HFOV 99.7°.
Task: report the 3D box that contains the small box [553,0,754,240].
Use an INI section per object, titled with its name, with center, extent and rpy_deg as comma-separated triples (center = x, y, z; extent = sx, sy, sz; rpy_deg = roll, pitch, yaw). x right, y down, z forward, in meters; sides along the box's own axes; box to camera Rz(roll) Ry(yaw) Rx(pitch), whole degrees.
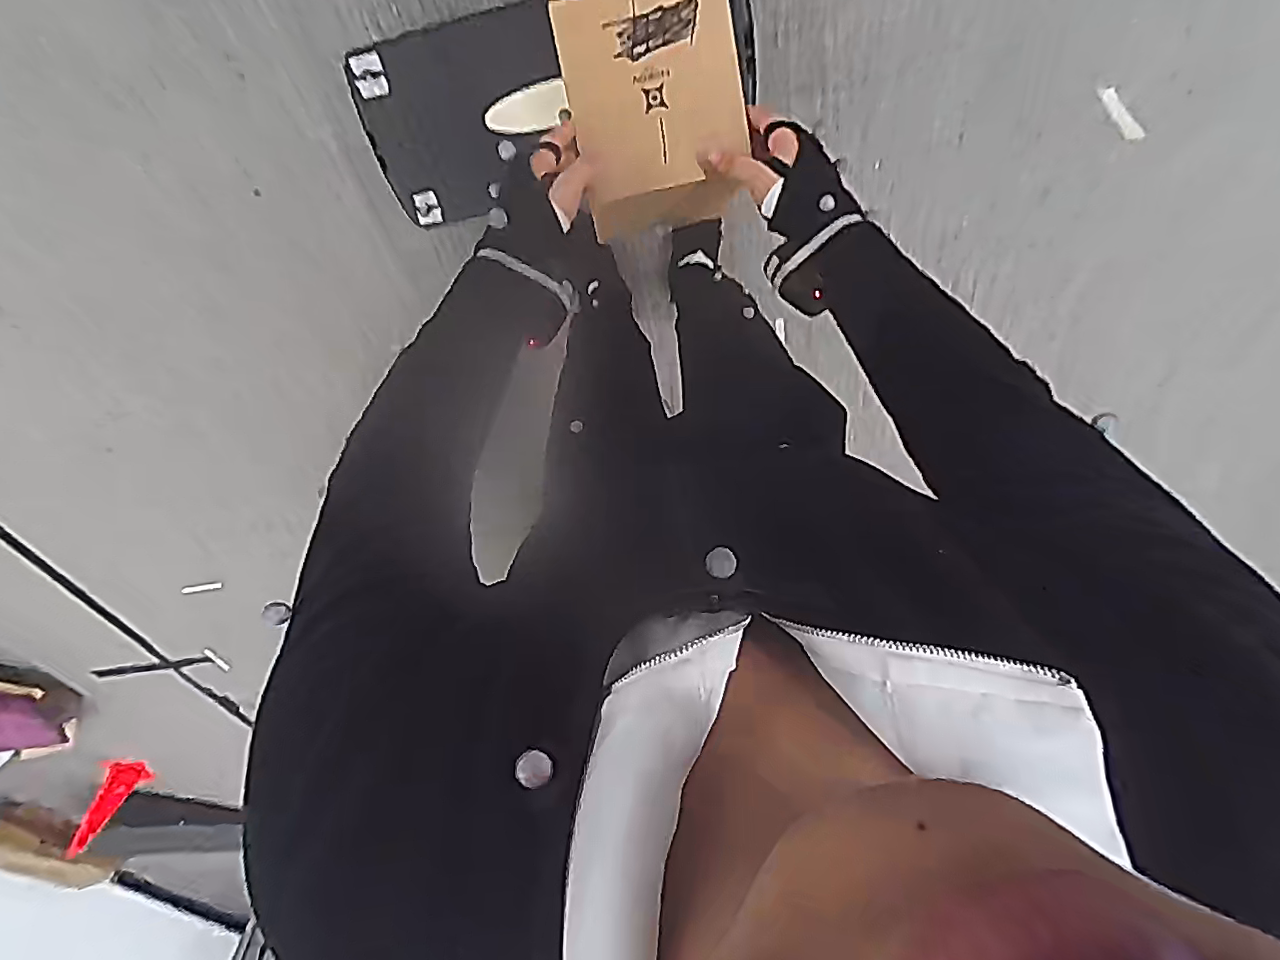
[small box]
center = 0.012, -0.386, 0.587
extent = 0.168, 0.176, 0.179
rpy_deg = -12, 101, 1
